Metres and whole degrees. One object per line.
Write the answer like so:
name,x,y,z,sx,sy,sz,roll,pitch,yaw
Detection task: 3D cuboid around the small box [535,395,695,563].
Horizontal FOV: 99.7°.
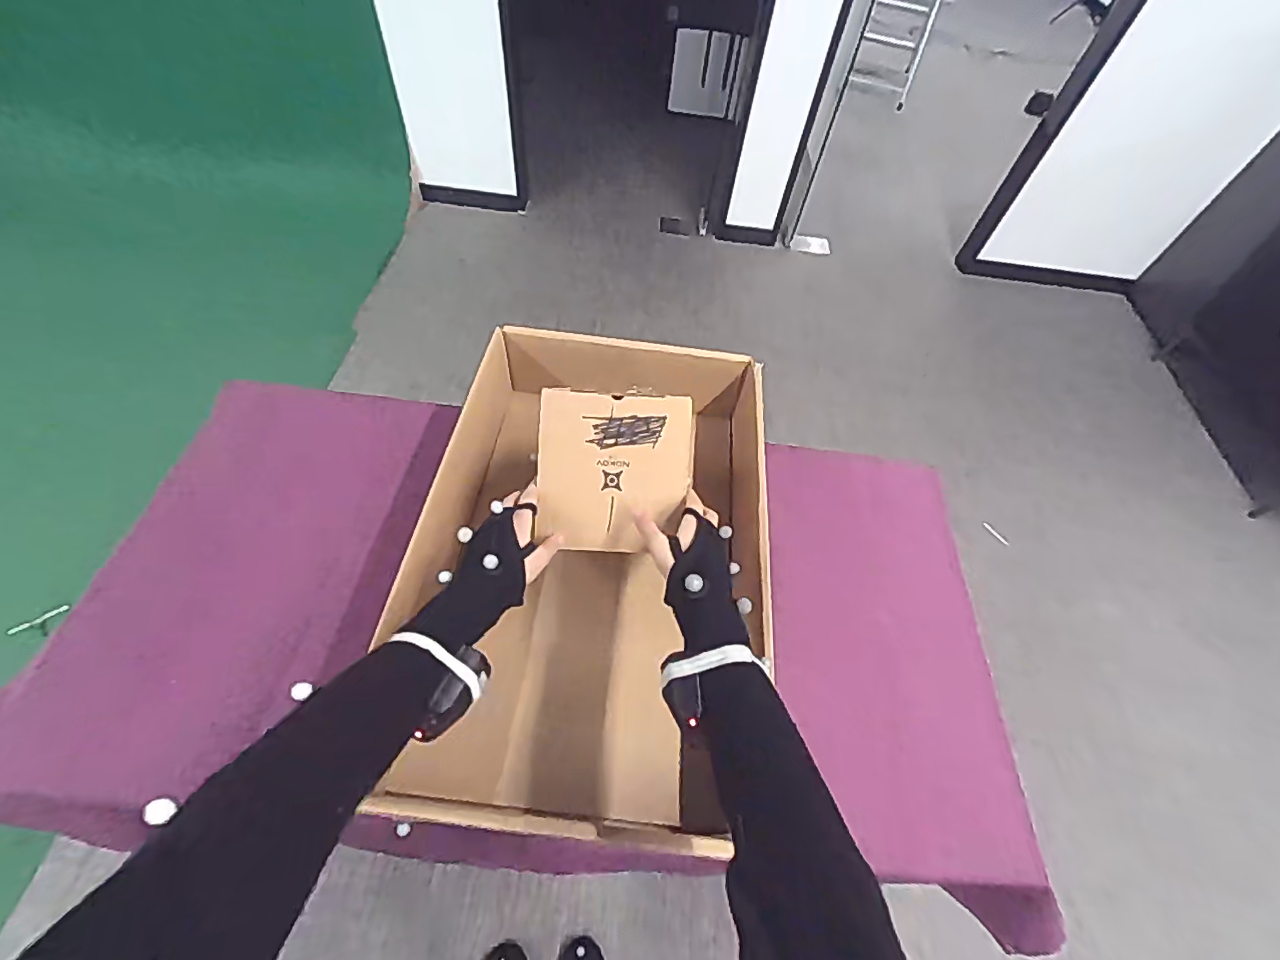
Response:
small box,-0.032,-0.003,0.667,0.168,0.176,0.179,4,92,-3
